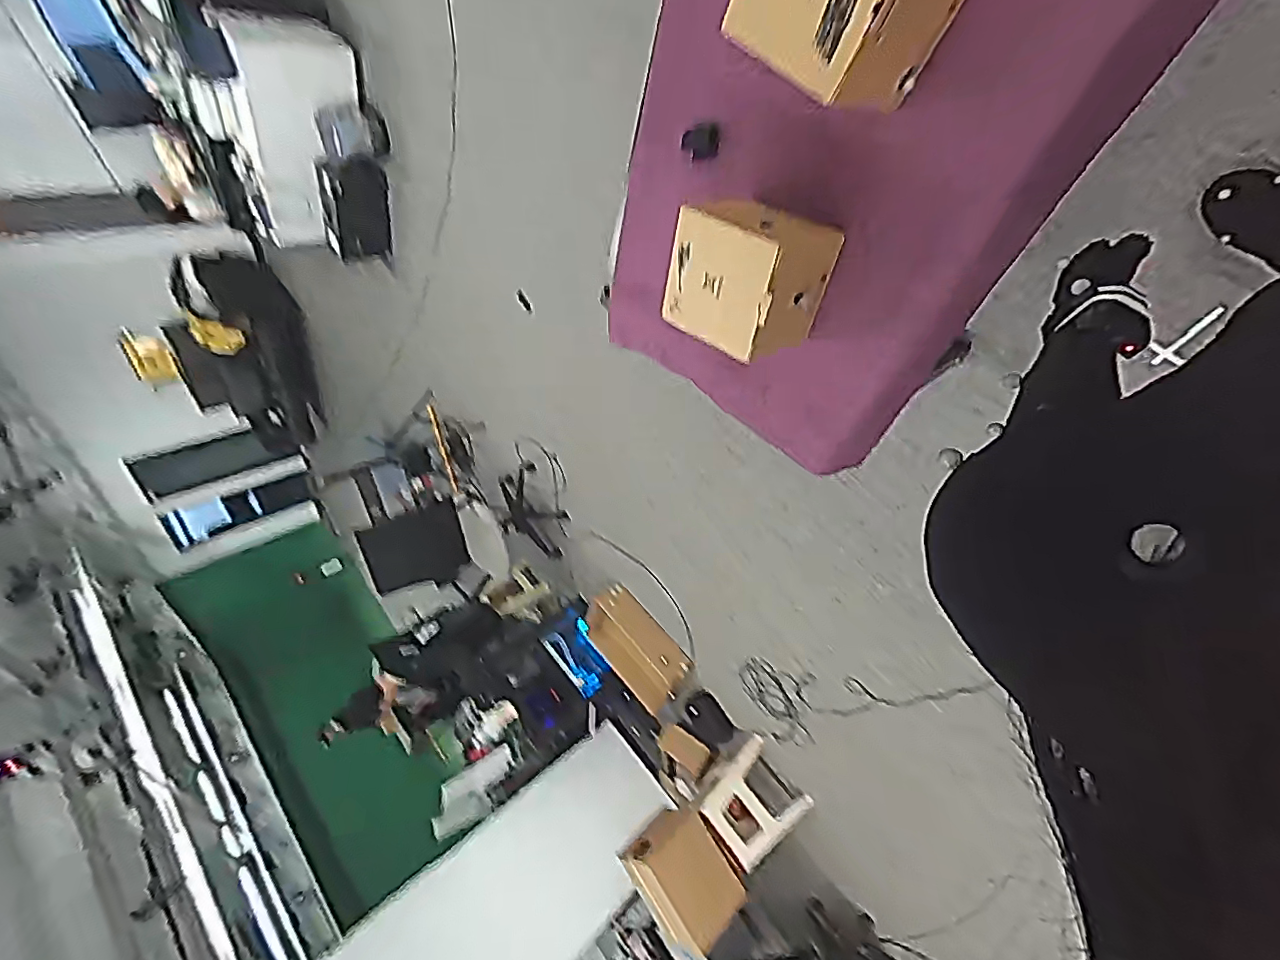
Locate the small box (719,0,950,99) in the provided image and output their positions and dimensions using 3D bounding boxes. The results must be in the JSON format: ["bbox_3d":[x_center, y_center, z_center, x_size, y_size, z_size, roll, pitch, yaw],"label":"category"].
[{"bbox_3d":[0.226,-0.541,0.580,0.179,0.176,0.168,50,142,18],"label":"small box"}]

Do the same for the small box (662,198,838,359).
[{"bbox_3d":[0.161,-0.308,0.805,0.179,0.176,0.168,37,137,29],"label":"small box"}]
